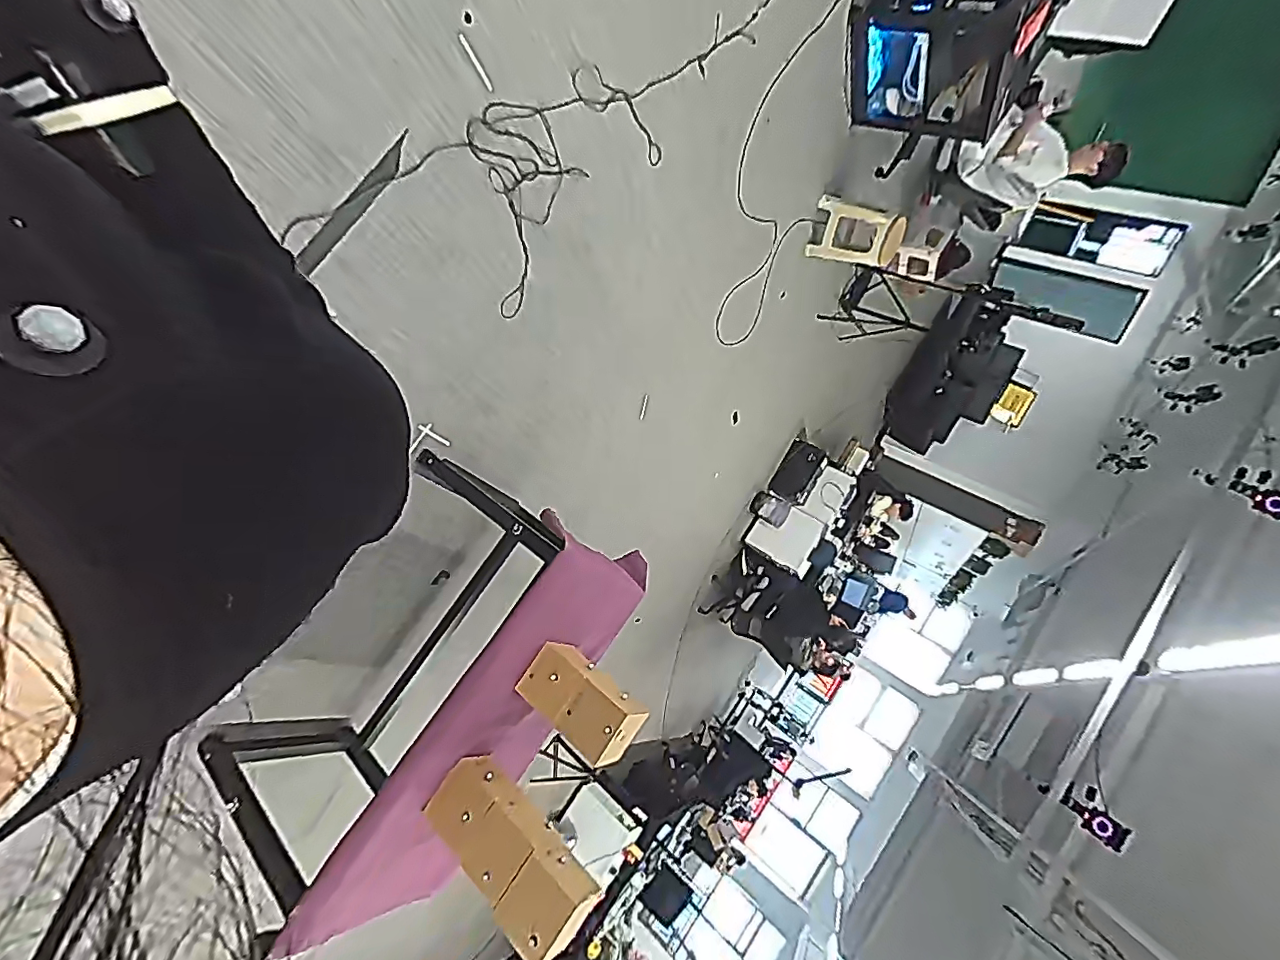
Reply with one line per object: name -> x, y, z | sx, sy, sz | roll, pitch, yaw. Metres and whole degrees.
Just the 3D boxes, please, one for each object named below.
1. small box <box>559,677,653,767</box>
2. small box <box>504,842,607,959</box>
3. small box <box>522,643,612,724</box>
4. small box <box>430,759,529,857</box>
small box -> -0.096, 0.687, 1.554 | 0.168, 0.176, 0.179 | -57, 152, -5
small box -> -0.222, 1.079, 1.382 | 0.179, 0.176, 0.168 | -55, 151, -8
small box -> -0.221, 0.609, 1.627 | 0.168, 0.176, 0.179 | -56, 151, -6
small box -> -0.461, 0.925, 1.548 | 0.179, 0.176, 0.168 | -54, 150, -8
